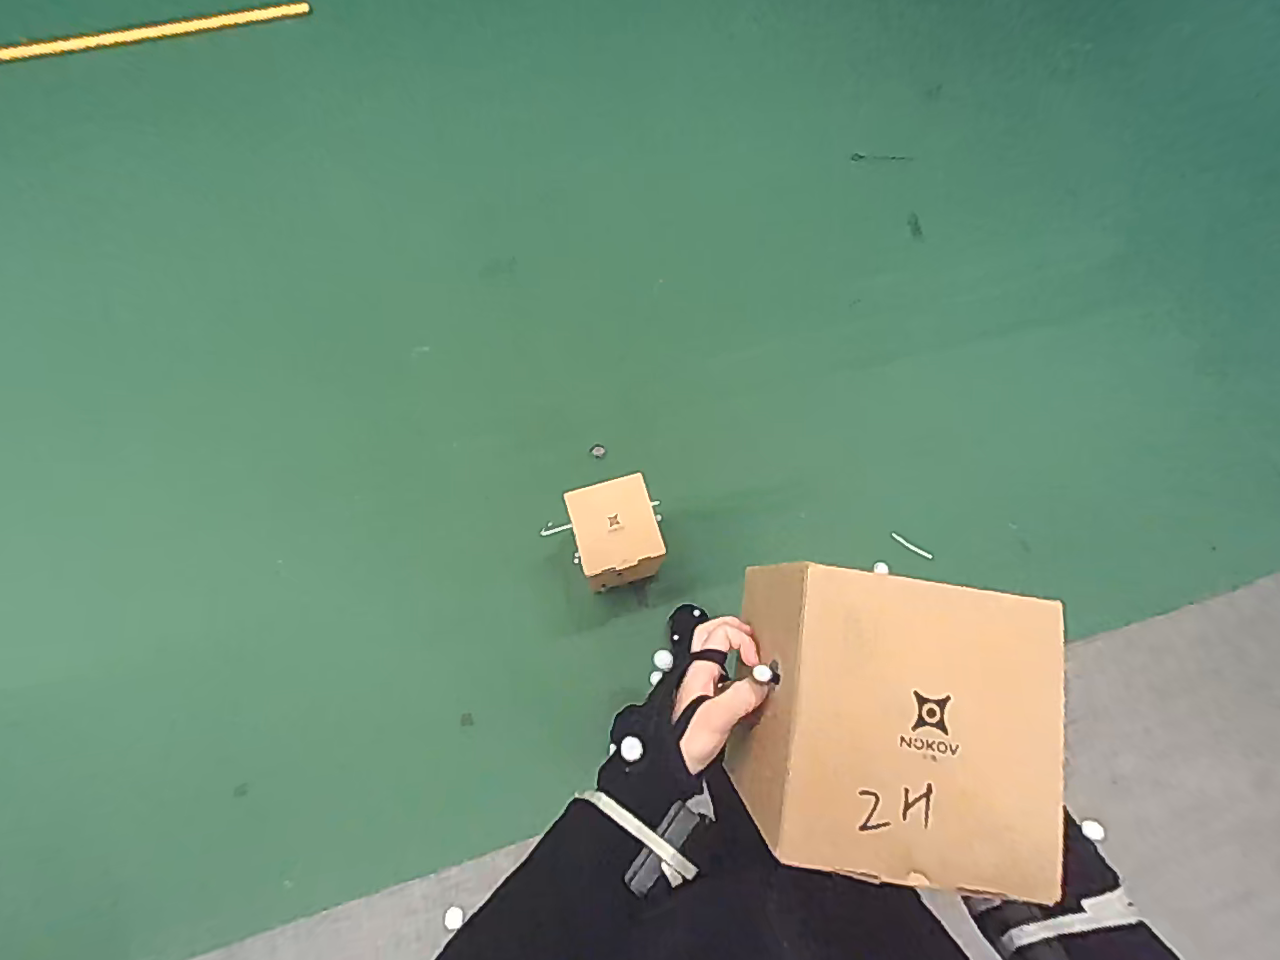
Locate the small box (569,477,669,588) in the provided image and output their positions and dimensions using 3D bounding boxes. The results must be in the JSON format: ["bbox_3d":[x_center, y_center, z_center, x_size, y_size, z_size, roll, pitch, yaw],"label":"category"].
[{"bbox_3d":[-0.048,0.118,1.152,0.168,0.176,0.179,-16,74,-7],"label":"small box"}]

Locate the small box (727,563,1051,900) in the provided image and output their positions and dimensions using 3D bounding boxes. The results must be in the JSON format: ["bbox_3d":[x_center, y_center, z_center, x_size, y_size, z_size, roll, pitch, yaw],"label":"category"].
[{"bbox_3d":[0.167,0.164,0.409,0.168,0.176,0.179,8,79,1],"label":"small box"}]
